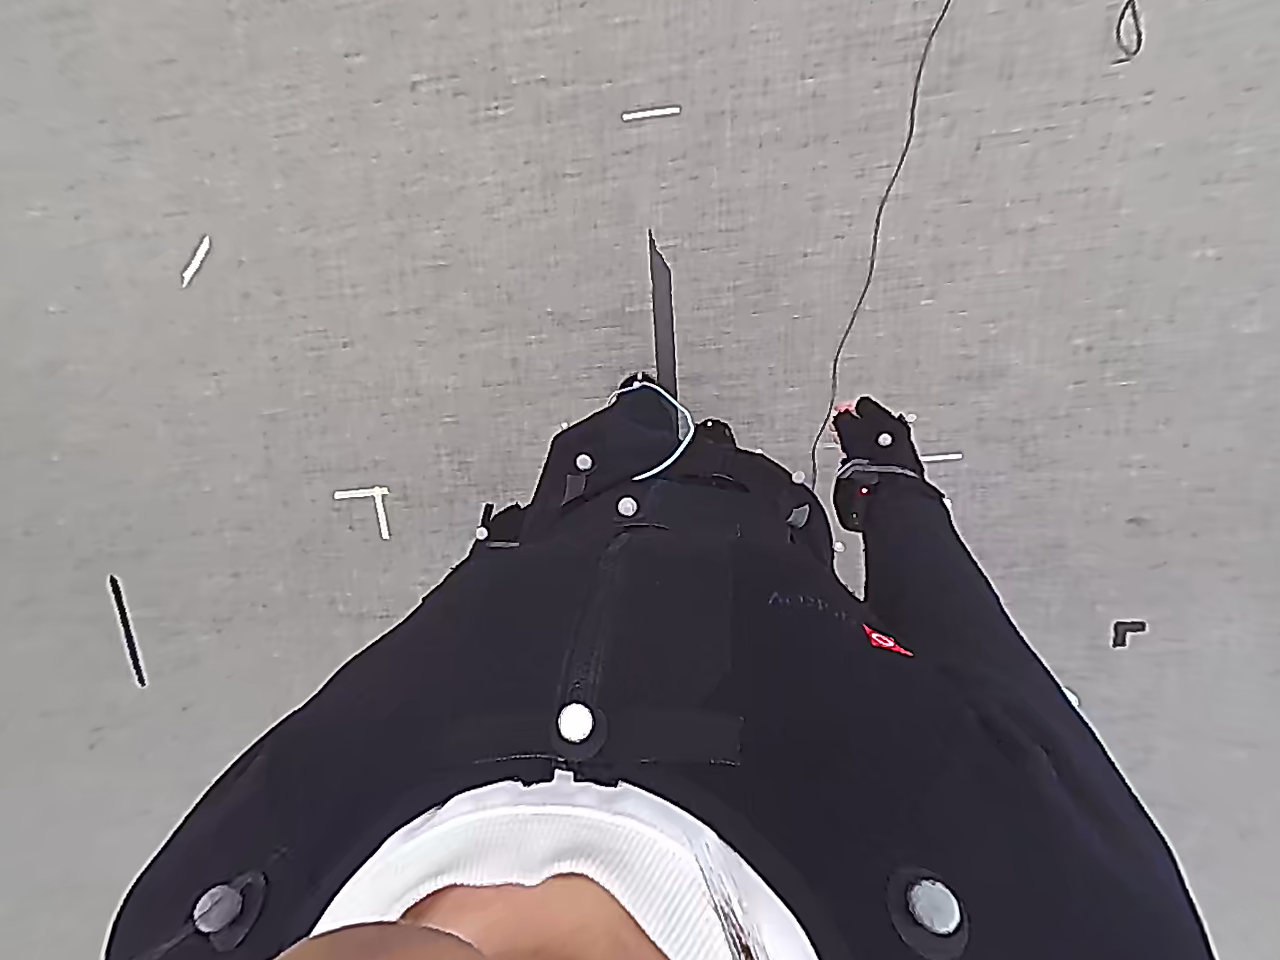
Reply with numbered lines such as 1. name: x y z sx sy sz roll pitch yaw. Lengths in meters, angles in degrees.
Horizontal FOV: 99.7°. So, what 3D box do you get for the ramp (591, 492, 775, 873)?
1. ramp: 0.109 0.532 1.454 0.509 0.206 0.991 -2 100 10
